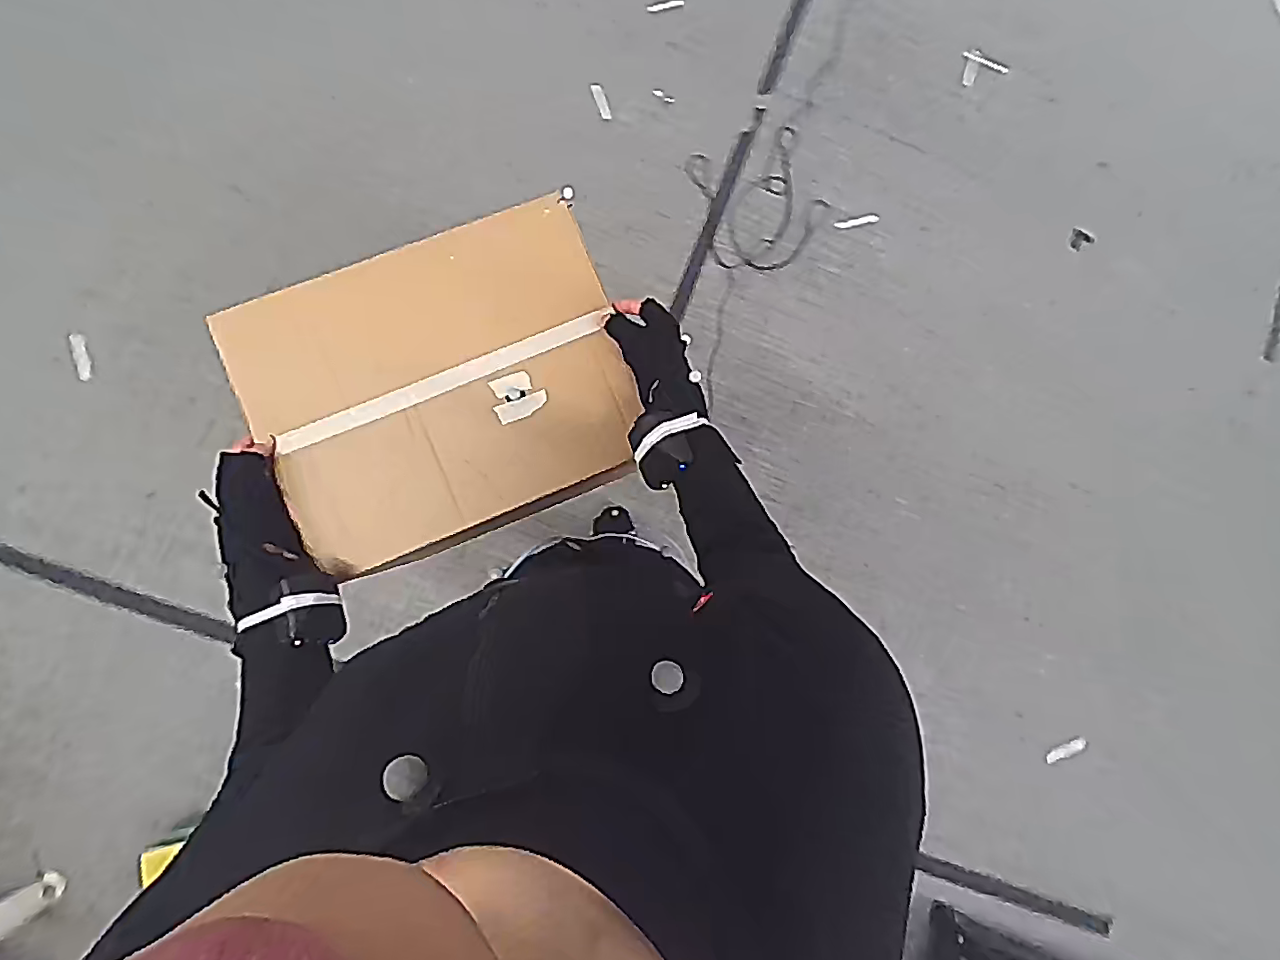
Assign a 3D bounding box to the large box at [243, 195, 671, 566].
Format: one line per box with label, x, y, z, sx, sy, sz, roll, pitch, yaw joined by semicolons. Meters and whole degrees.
large box;-0.214;-0.109;0.755;0.408;0.320;0.320;-22;90;-6
